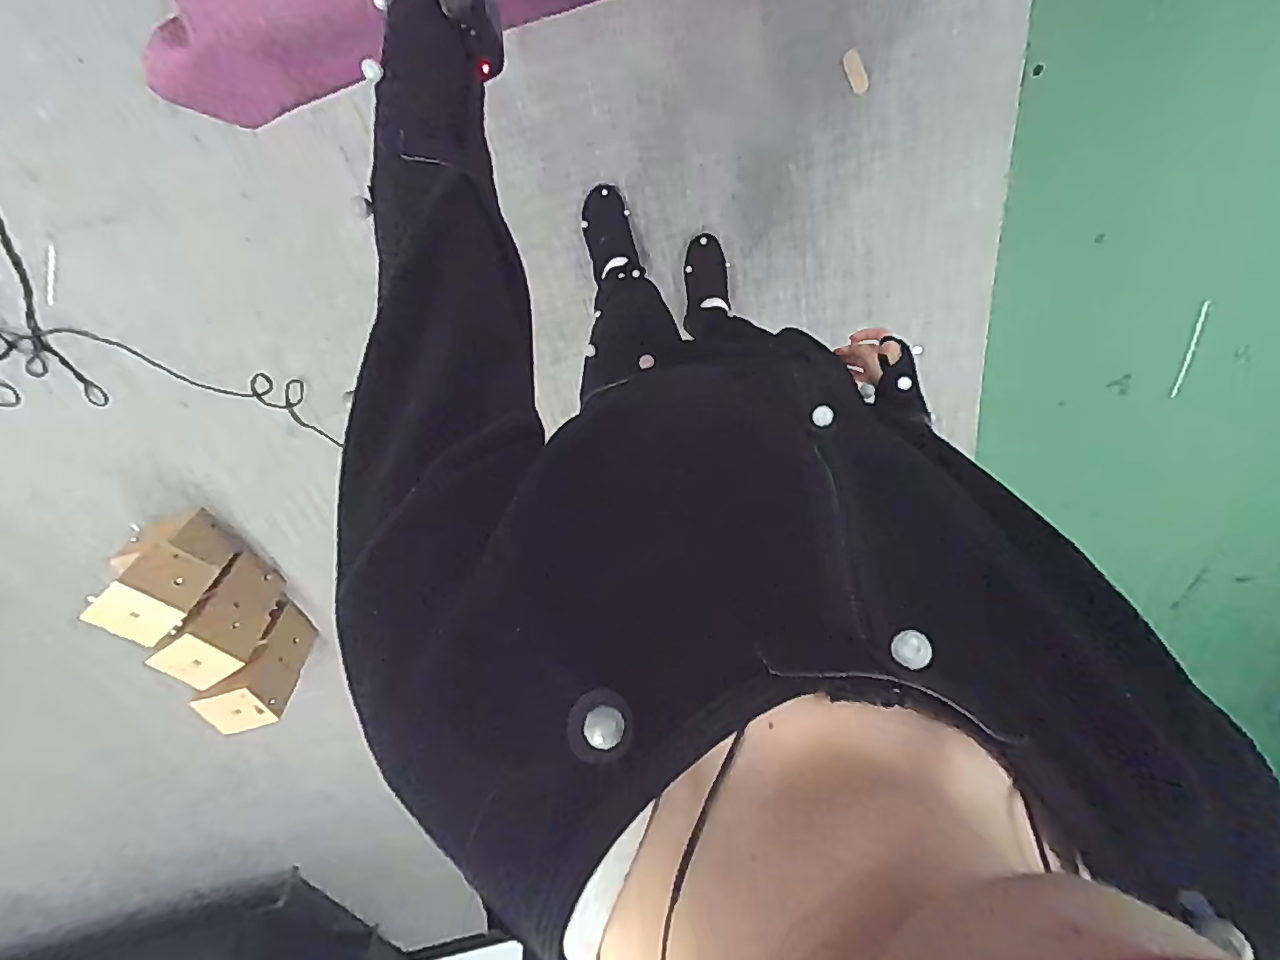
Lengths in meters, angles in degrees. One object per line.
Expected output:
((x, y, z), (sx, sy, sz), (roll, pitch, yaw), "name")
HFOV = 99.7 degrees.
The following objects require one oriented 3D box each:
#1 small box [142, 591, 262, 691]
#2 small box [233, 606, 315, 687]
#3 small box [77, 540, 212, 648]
((-1.191, 0.440, 1.491), (0.179, 0.176, 0.168), (-30, 122, 12), "small box")
((-1.195, 0.527, 1.742), (0.168, 0.176, 0.179), (-15, 124, 3), "small box")
((-1.250, 0.287, 1.381), (0.179, 0.176, 0.168), (-37, 121, 16), "small box")
